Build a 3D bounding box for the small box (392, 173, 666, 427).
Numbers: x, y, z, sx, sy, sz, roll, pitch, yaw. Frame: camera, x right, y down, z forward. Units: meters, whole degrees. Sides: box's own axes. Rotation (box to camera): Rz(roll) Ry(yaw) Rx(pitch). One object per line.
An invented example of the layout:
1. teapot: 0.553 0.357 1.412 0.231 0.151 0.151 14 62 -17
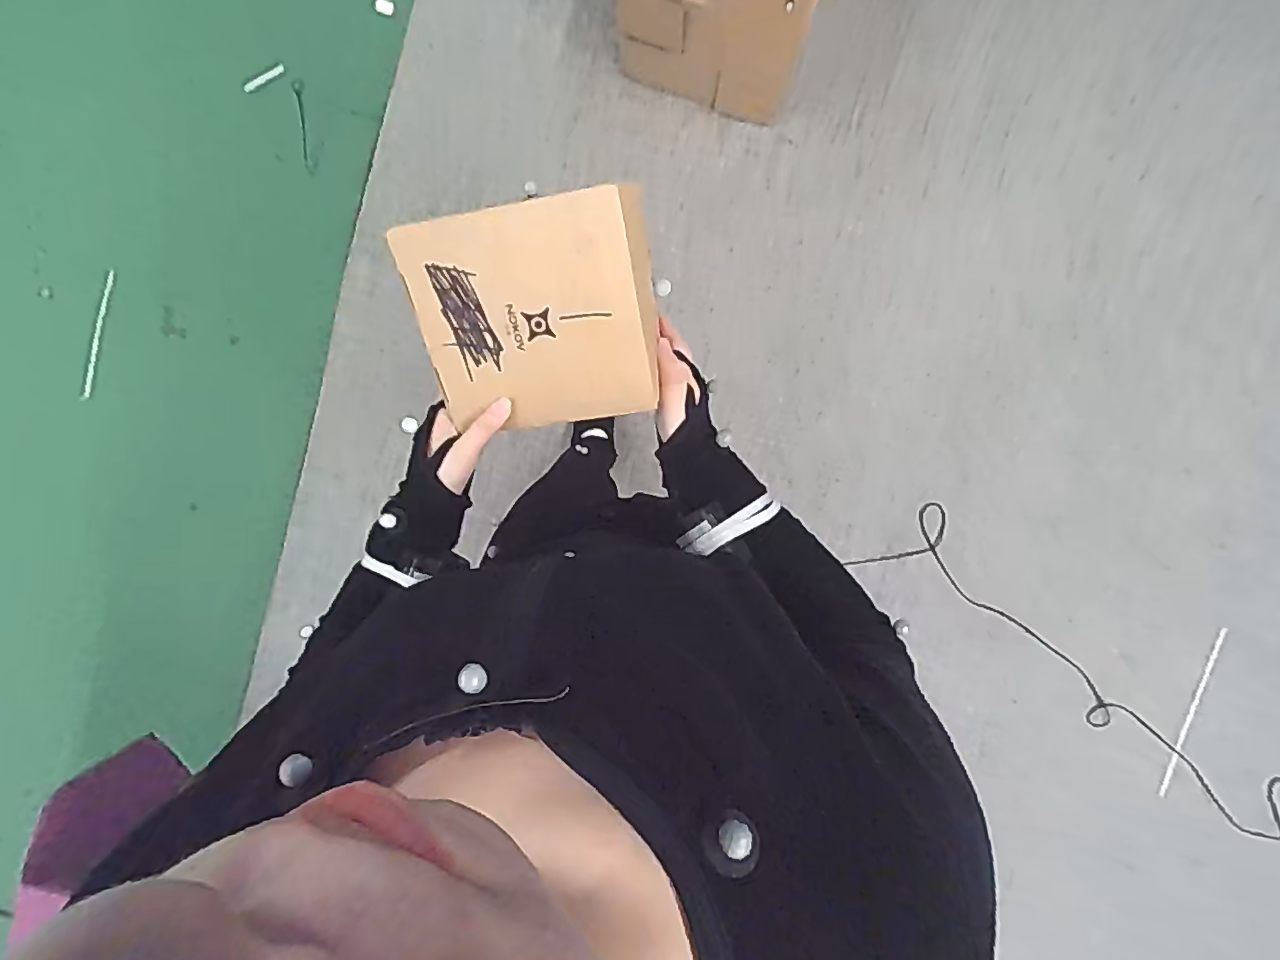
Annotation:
1. small box: -0.076 -0.161 0.481 0.179 0.176 0.168 -7 117 9
